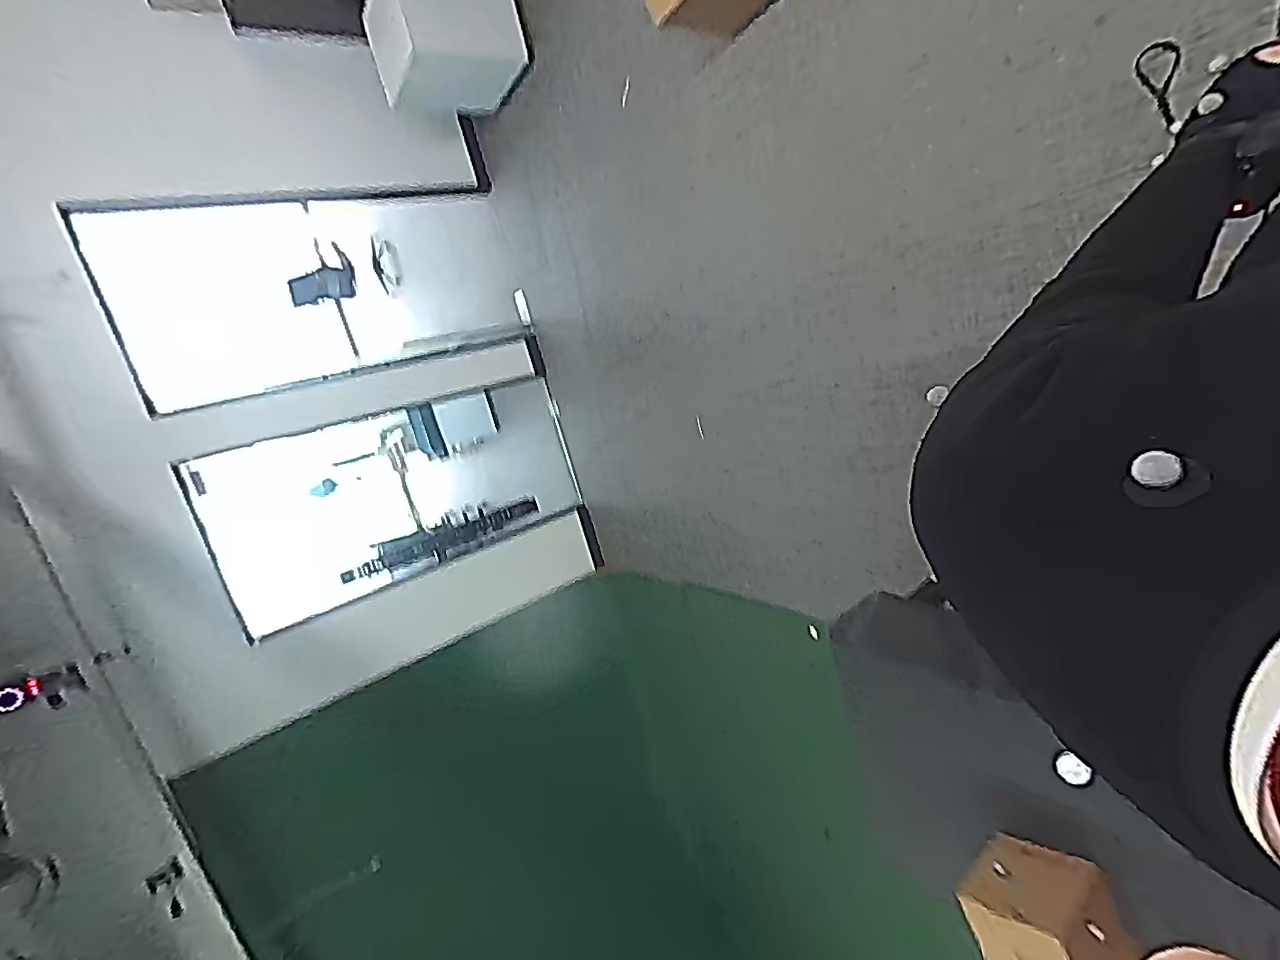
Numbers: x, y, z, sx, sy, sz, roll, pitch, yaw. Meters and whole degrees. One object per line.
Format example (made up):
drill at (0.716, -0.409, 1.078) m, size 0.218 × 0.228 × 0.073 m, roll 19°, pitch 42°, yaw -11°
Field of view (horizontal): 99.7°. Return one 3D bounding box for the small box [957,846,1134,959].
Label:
small box at (0.685, 0.770, 0.911) m, size 0.168 × 0.176 × 0.179 m, roll -23°, pitch 88°, yaw 61°
